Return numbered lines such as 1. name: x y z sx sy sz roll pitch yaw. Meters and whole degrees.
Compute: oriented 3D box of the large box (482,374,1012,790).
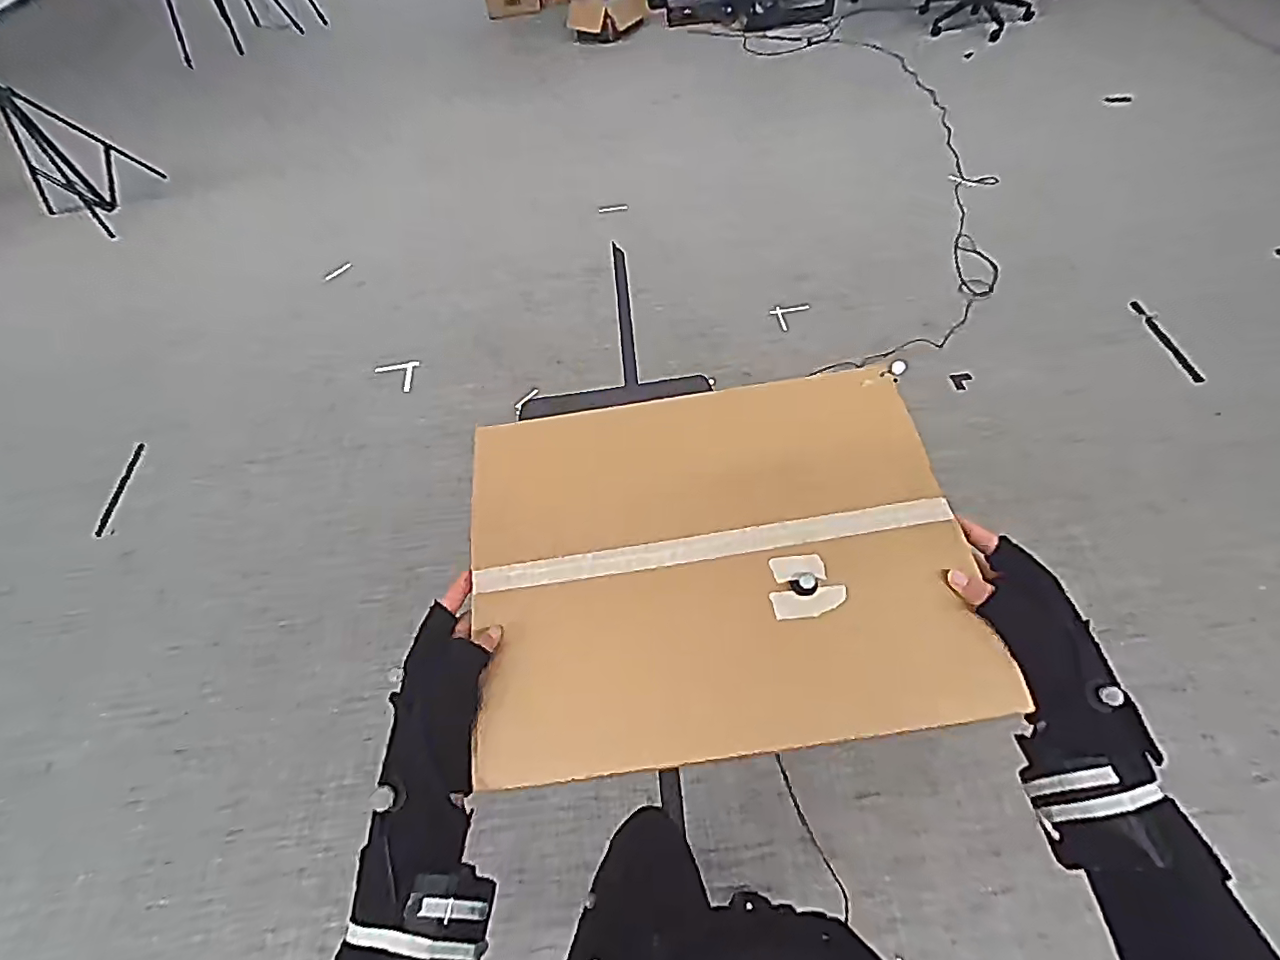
1. large box: 0.070 0.129 0.598 0.408 0.320 0.320 -9 63 0
